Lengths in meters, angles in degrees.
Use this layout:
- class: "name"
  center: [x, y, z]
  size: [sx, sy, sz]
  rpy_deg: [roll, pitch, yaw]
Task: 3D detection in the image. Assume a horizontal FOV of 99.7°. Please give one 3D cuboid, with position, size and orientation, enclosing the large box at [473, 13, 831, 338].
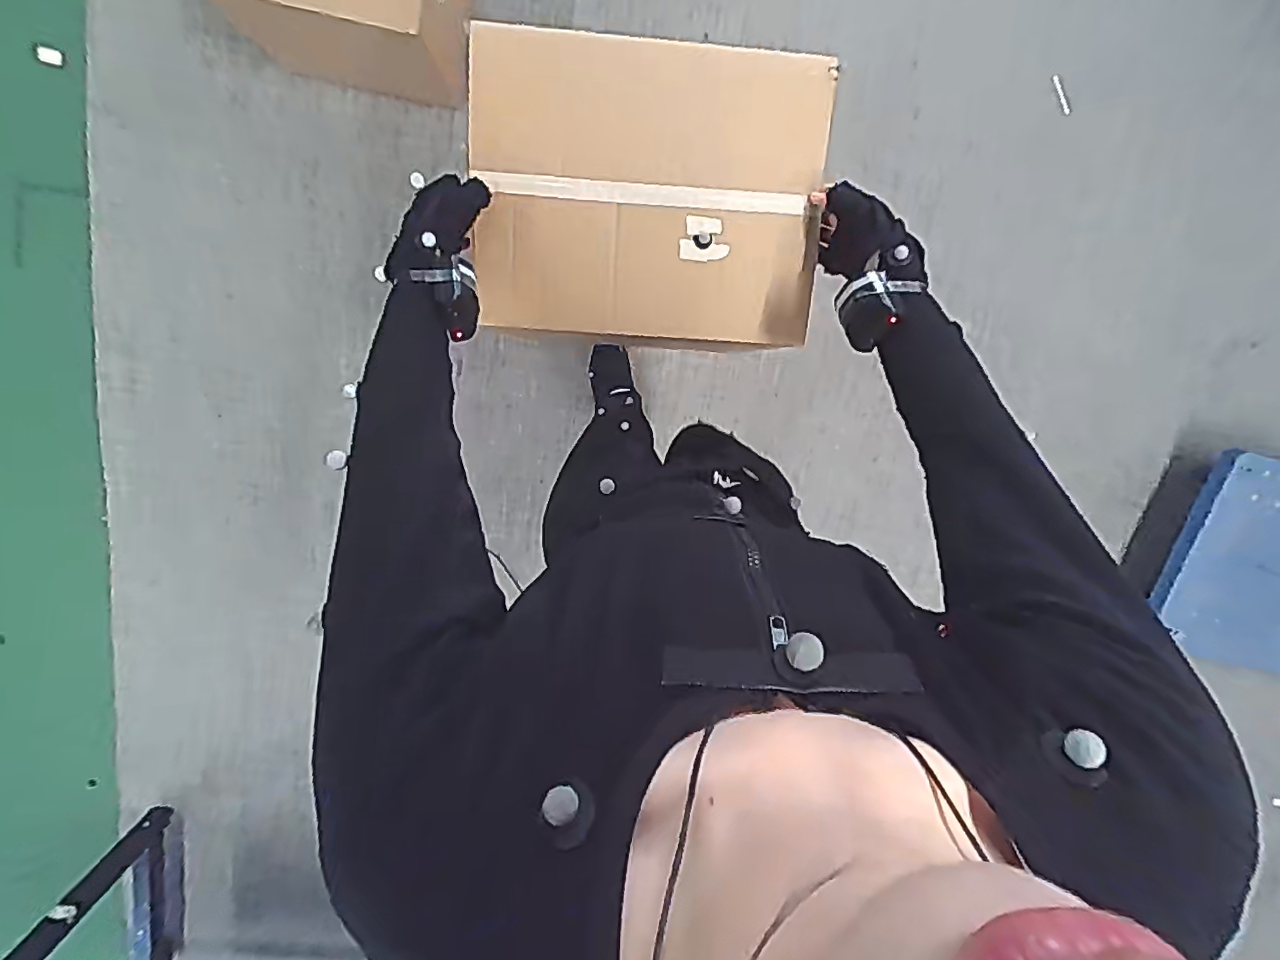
- class: "large box"
  center: [0.000, -0.374, 0.767]
  size: [0.408, 0.320, 0.320]
  rpy_deg: [2, 103, -5]
